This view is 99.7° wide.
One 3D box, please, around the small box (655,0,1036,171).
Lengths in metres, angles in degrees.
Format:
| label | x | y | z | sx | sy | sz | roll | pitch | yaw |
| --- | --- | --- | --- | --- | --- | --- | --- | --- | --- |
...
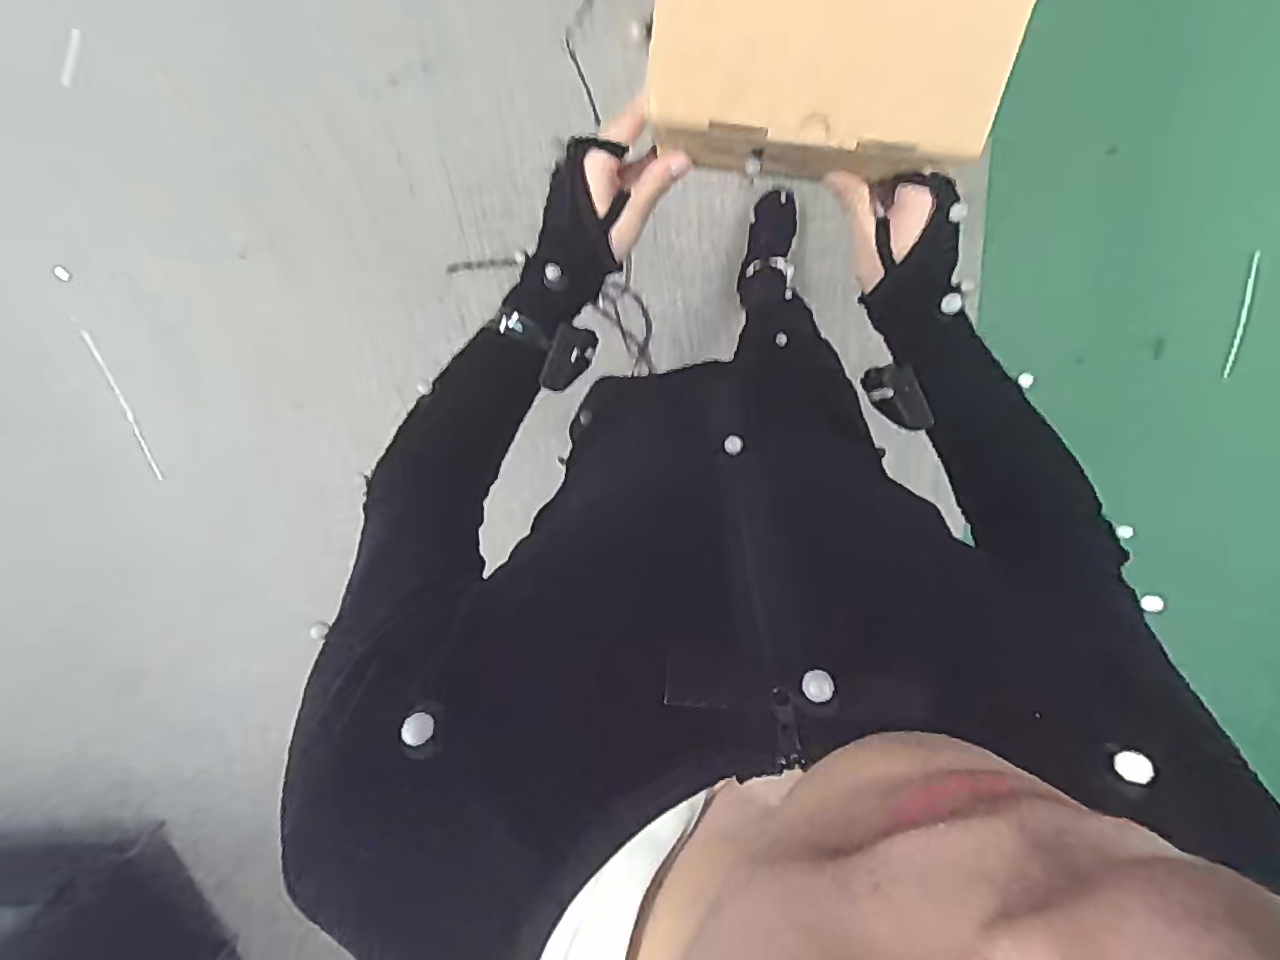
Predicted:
| label | x | y | z | sx | sy | sz | roll | pitch | yaw |
| --- | --- | --- | --- | --- | --- | --- | --- | --- | --- |
| small box | 0.100 | -0.281 | 0.296 | 0.168 | 0.176 | 0.179 | 7 | 118 | 1 |

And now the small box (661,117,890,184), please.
| label | x | y | z | sx | sy | sz | roll | pitch | yaw |
| --- | --- | --- | --- | --- | --- | --- | --- | --- | --- |
| small box | 0.115 | -0.345 | 0.444 | 0.179 | 0.176 | 0.168 | 7 | 117 | 2 |
